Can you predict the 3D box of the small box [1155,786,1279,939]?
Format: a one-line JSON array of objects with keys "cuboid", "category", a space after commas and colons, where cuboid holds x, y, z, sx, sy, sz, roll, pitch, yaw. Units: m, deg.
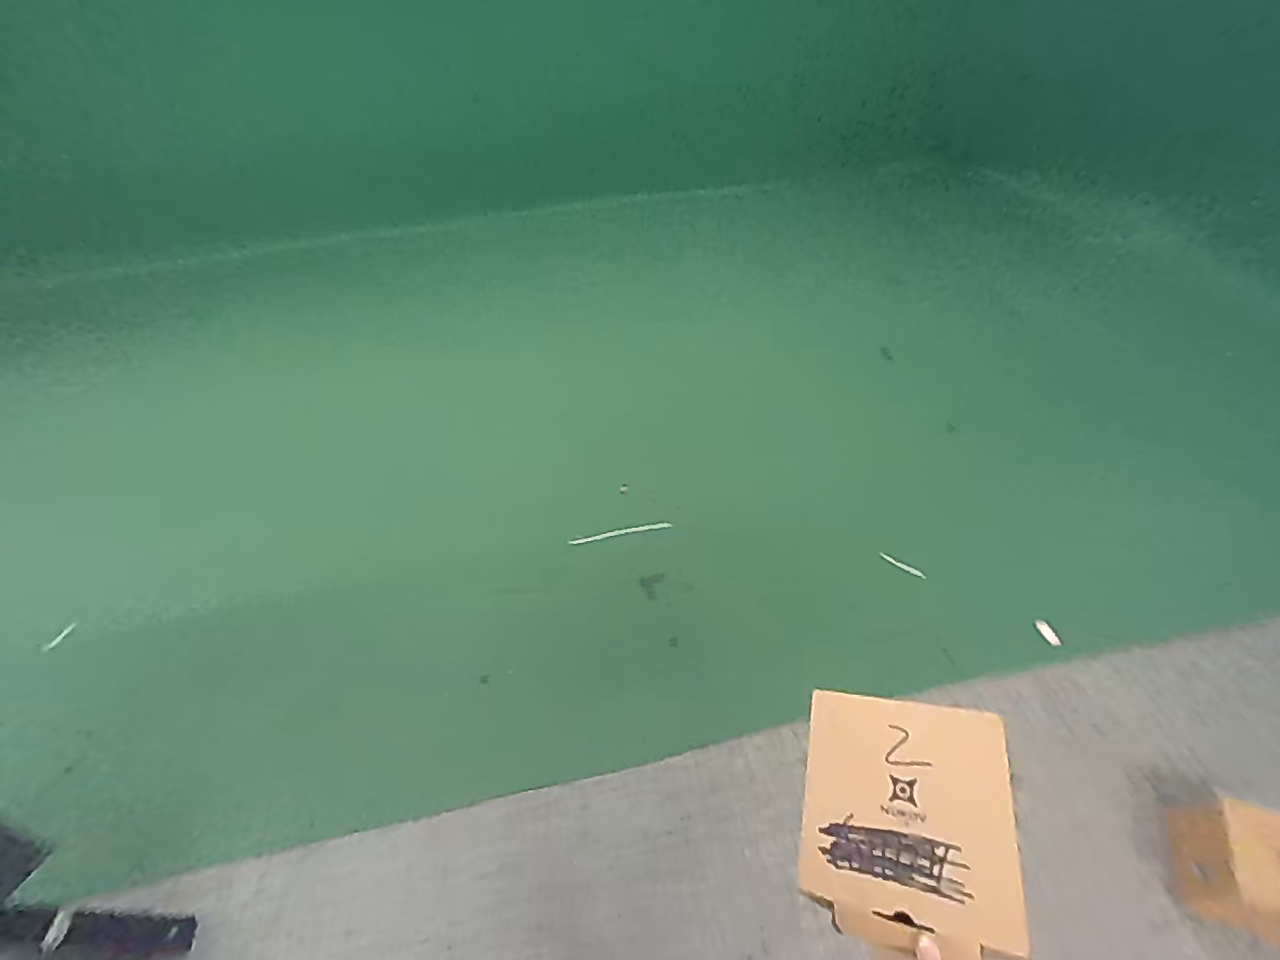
[{"cuboid": [1.115, 0.711, 1.001, 0.168, 0.176, 0.179, 17, 51, 17], "category": "small box"}]
